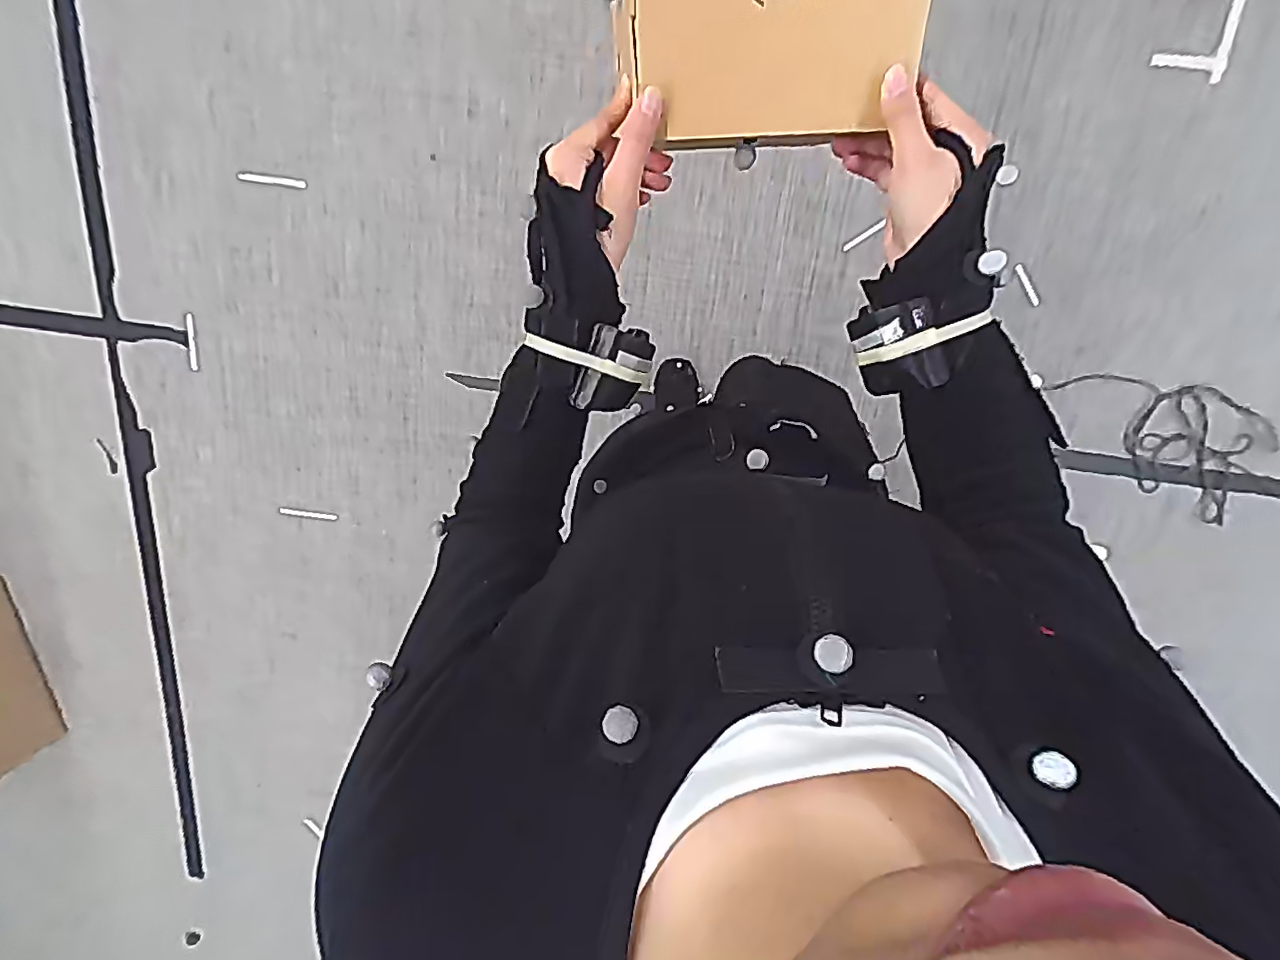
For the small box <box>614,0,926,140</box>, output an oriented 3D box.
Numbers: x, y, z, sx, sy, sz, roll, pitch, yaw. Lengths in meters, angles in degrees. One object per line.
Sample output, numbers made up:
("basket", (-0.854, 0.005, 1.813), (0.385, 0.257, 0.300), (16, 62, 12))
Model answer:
("small box", (0.074, -0.333, 0.367), (0.179, 0.176, 0.168), (-4, 120, -2))
